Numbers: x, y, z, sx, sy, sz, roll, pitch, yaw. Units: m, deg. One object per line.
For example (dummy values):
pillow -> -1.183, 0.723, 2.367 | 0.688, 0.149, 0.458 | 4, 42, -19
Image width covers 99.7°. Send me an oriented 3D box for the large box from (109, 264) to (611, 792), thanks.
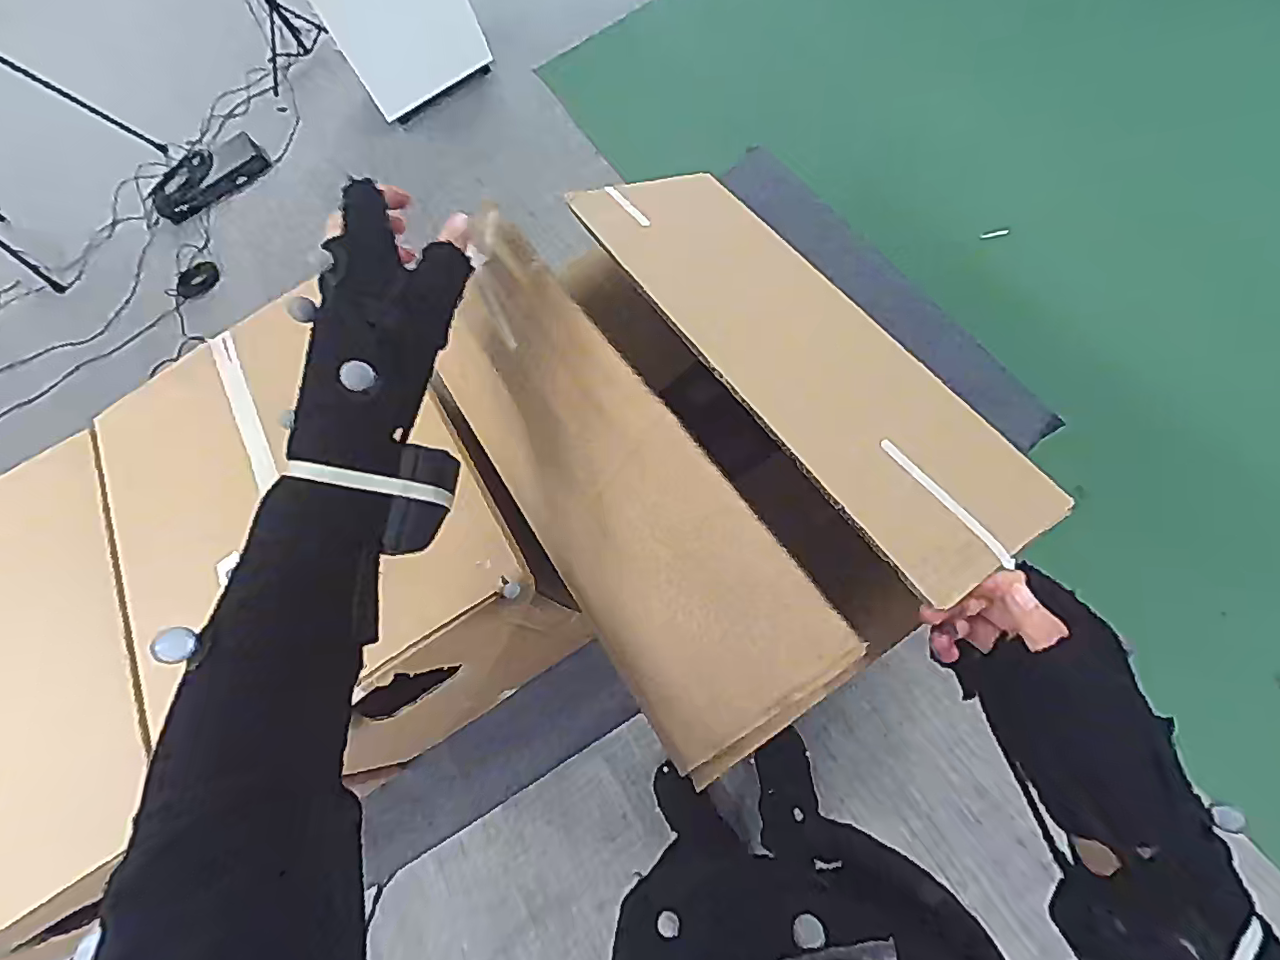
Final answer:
large box -> -0.286, 0.053, 0.620 | 0.320, 0.320, 0.408 | -34, 68, -2
